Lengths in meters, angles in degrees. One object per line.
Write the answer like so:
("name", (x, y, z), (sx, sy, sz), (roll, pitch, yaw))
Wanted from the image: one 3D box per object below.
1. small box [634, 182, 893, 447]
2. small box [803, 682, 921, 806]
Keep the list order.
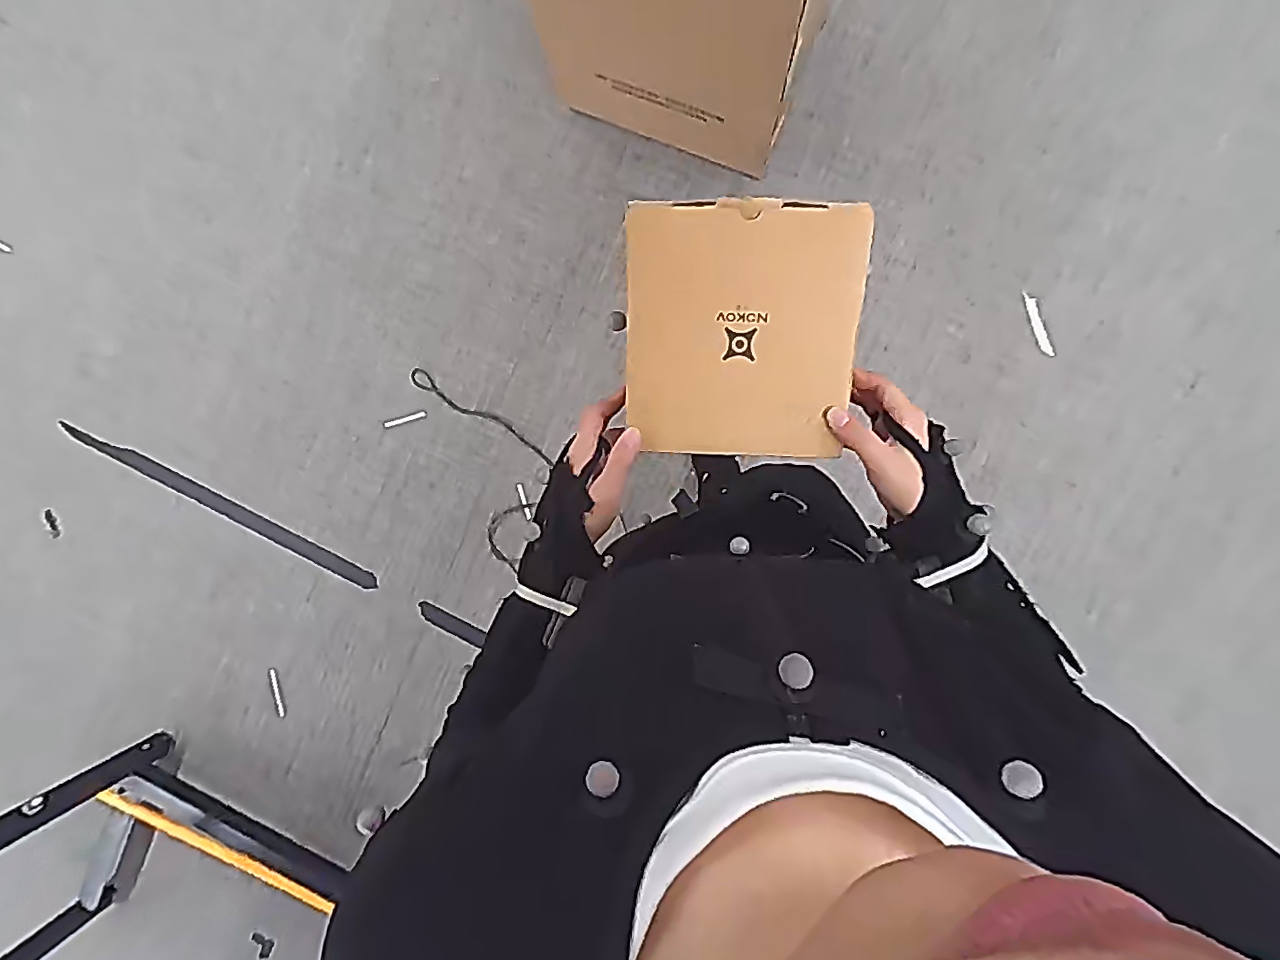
("small box", (0.084, -0.134, 0.451), (0.168, 0.176, 0.179), (2, 107, 3))
("small box", (0.507, 0.604, 1.262), (0.179, 0.176, 0.168), (27, 93, 5))
